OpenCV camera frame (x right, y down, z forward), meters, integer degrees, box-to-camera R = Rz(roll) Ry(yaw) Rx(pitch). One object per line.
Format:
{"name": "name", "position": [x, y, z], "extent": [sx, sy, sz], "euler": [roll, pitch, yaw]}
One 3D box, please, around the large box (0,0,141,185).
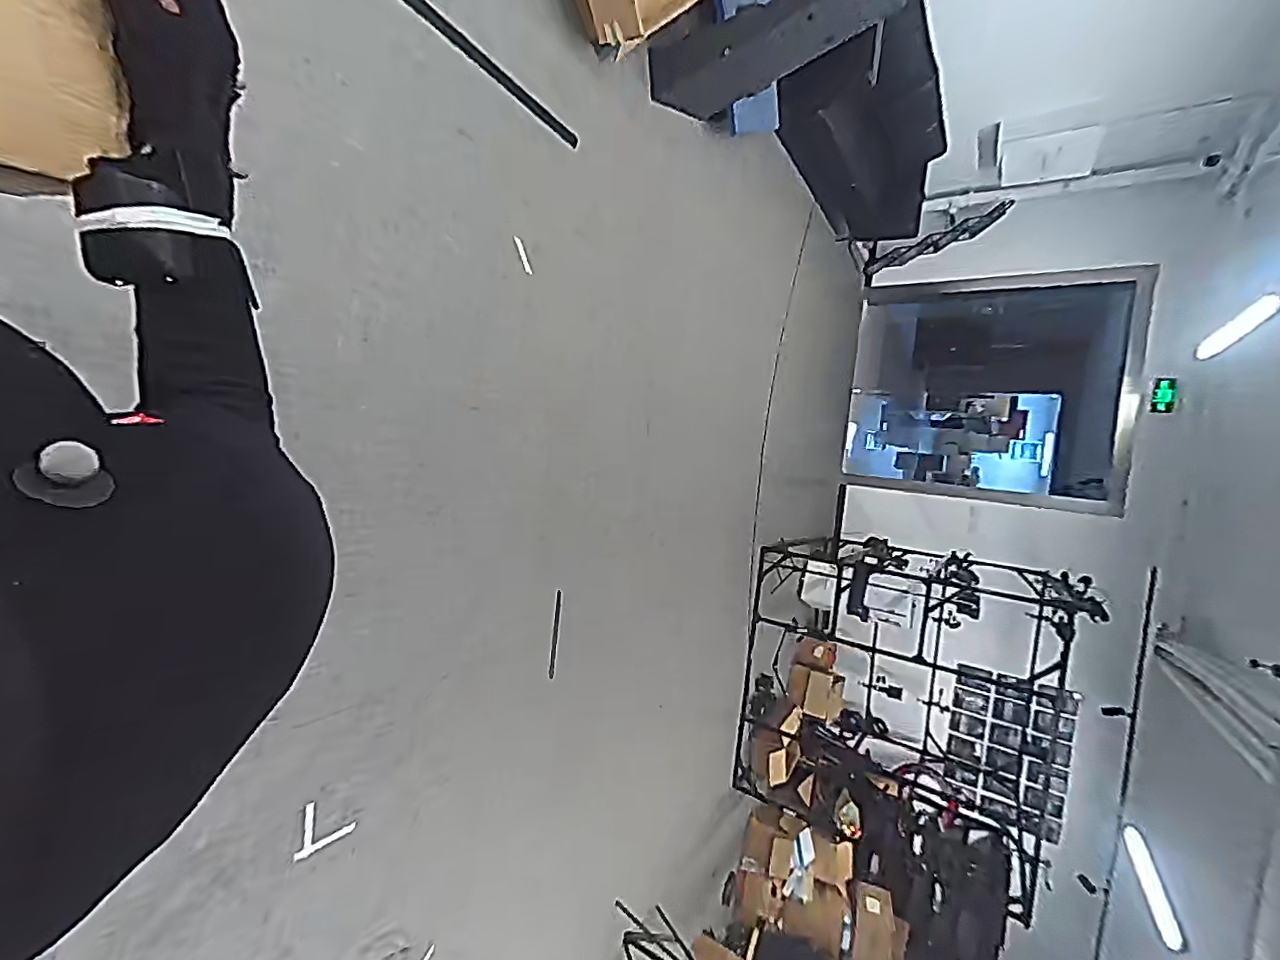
{"name": "large box", "position": [-0.566, -0.374, 0.262], "extent": [0.408, 0.320, 0.320], "euler": [-11, 116, -57]}
